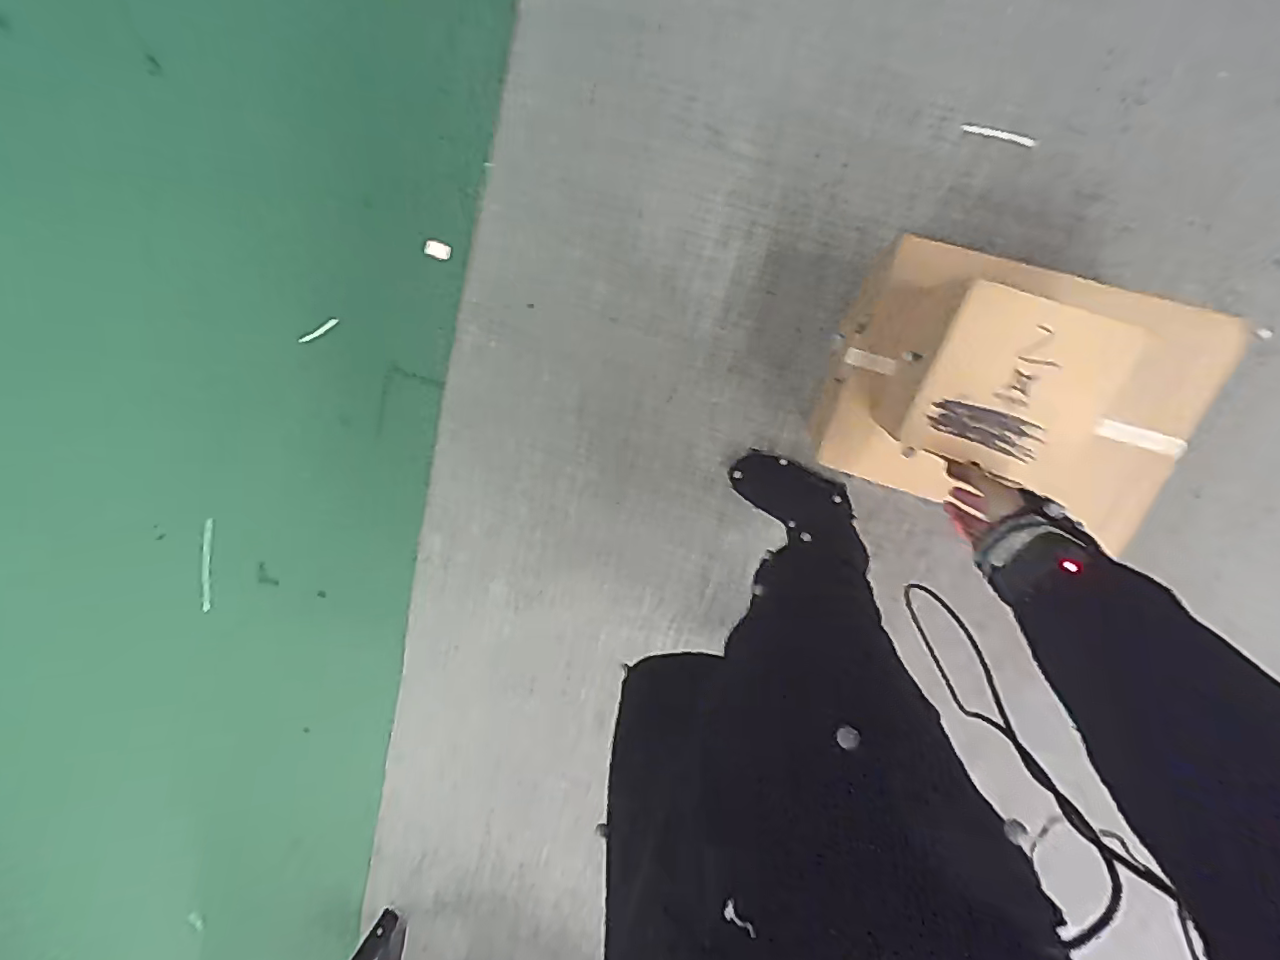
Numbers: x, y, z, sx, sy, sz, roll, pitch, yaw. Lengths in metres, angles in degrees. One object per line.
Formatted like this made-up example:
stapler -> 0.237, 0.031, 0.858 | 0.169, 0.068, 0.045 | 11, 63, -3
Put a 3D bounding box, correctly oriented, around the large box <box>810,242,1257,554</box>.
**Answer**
large box -> 0.514, -0.138, 0.830 | 0.408, 0.320, 0.320 | 19, 110, 8
